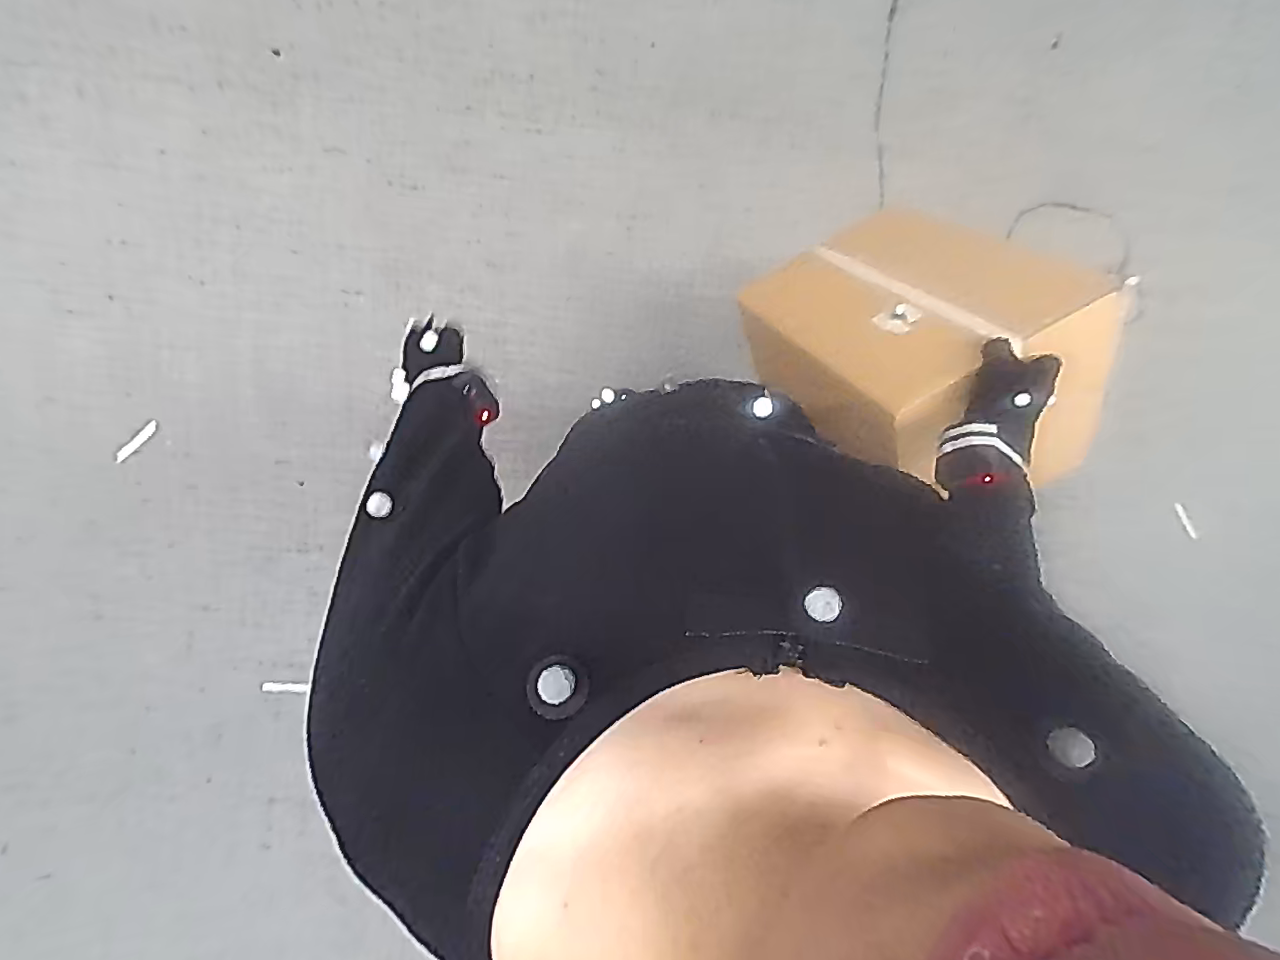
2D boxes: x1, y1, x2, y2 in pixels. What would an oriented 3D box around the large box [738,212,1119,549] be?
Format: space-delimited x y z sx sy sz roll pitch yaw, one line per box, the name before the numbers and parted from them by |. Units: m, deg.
large box | 0.413 -0.172 0.874 0.320 0.408 0.320 -29 133 0
